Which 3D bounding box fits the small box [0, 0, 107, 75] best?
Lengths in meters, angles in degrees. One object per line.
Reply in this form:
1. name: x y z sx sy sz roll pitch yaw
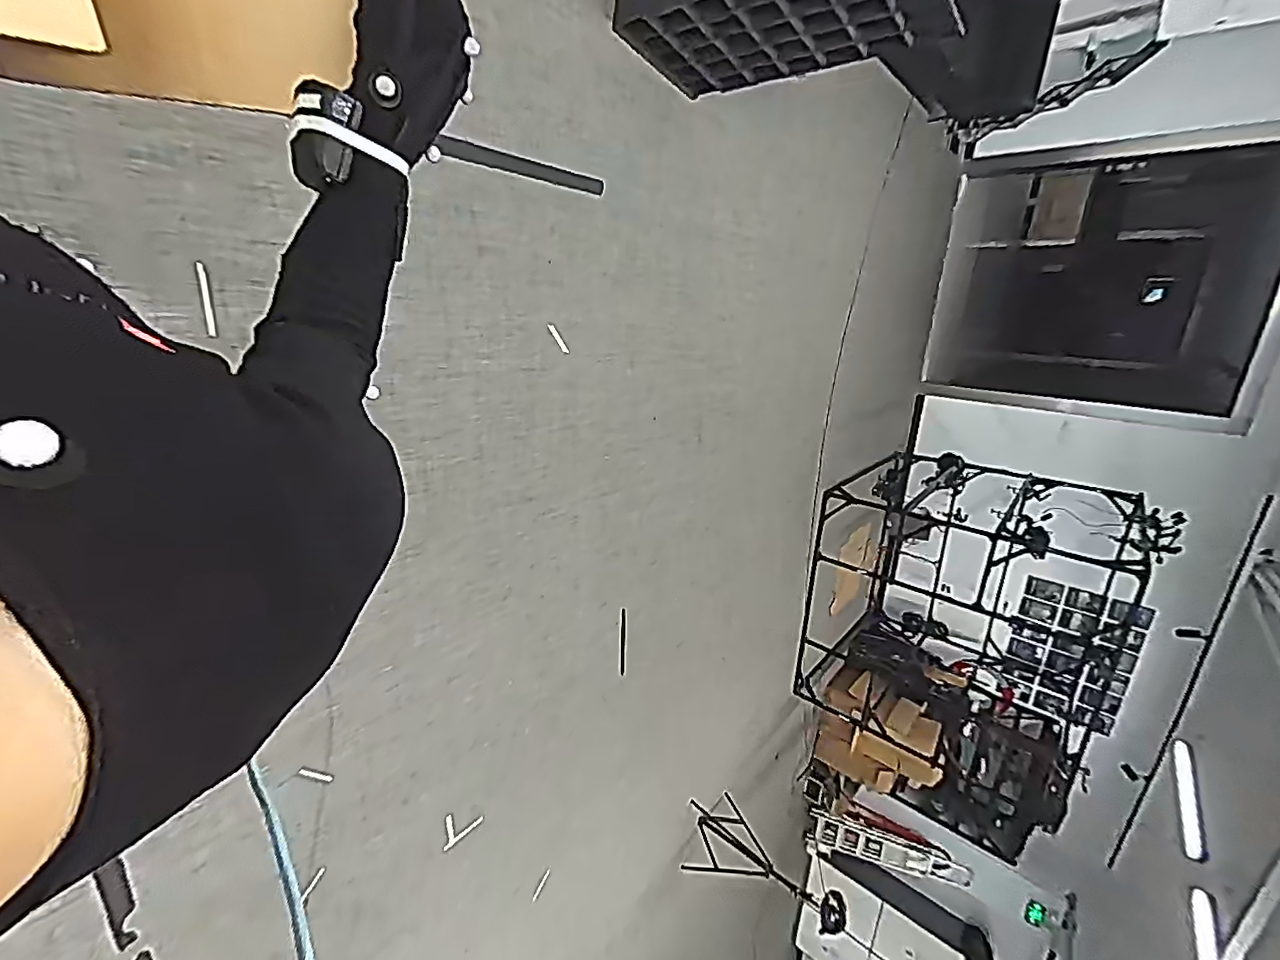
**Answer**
1. small box: -0.421 -0.306 0.248 0.179 0.176 0.168 -40 142 -53
